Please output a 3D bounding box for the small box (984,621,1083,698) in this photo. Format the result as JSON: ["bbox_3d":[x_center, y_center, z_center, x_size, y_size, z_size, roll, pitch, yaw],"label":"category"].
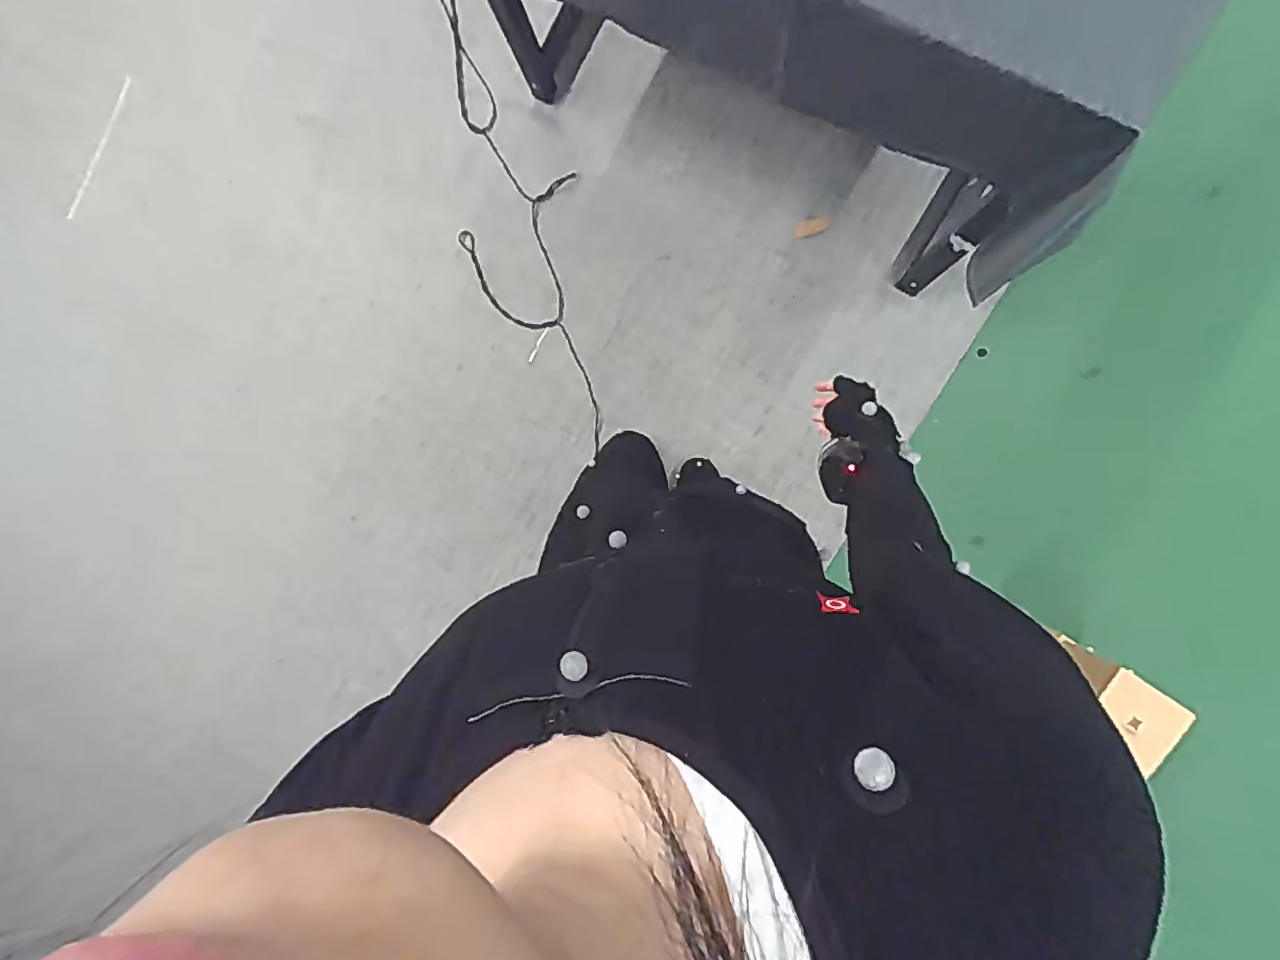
[{"bbox_3d":[0.980,0.460,1.298,0.179,0.176,0.168,36,95,4],"label":"small box"}]

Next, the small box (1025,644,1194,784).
[{"bbox_3d":[0.965,0.476,1.134,0.168,0.176,0.179,35,94,5],"label":"small box"}]
